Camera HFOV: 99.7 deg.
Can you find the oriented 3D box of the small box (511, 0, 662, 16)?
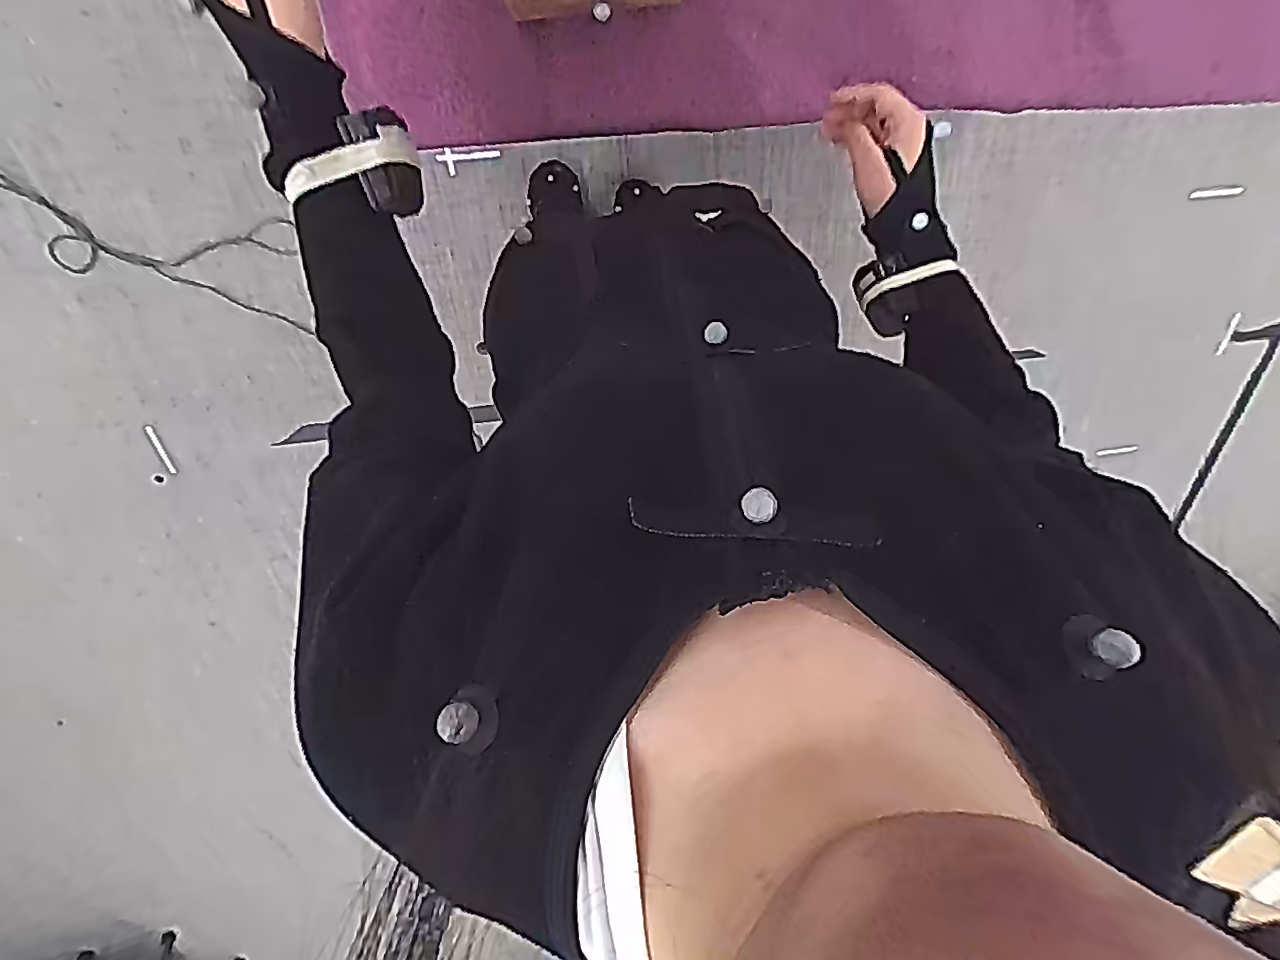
[{"bbox_3d":[-0.043,-0.490,0.409,0.168,0.176,0.179,-10,121,-4],"label":"small box"}]
